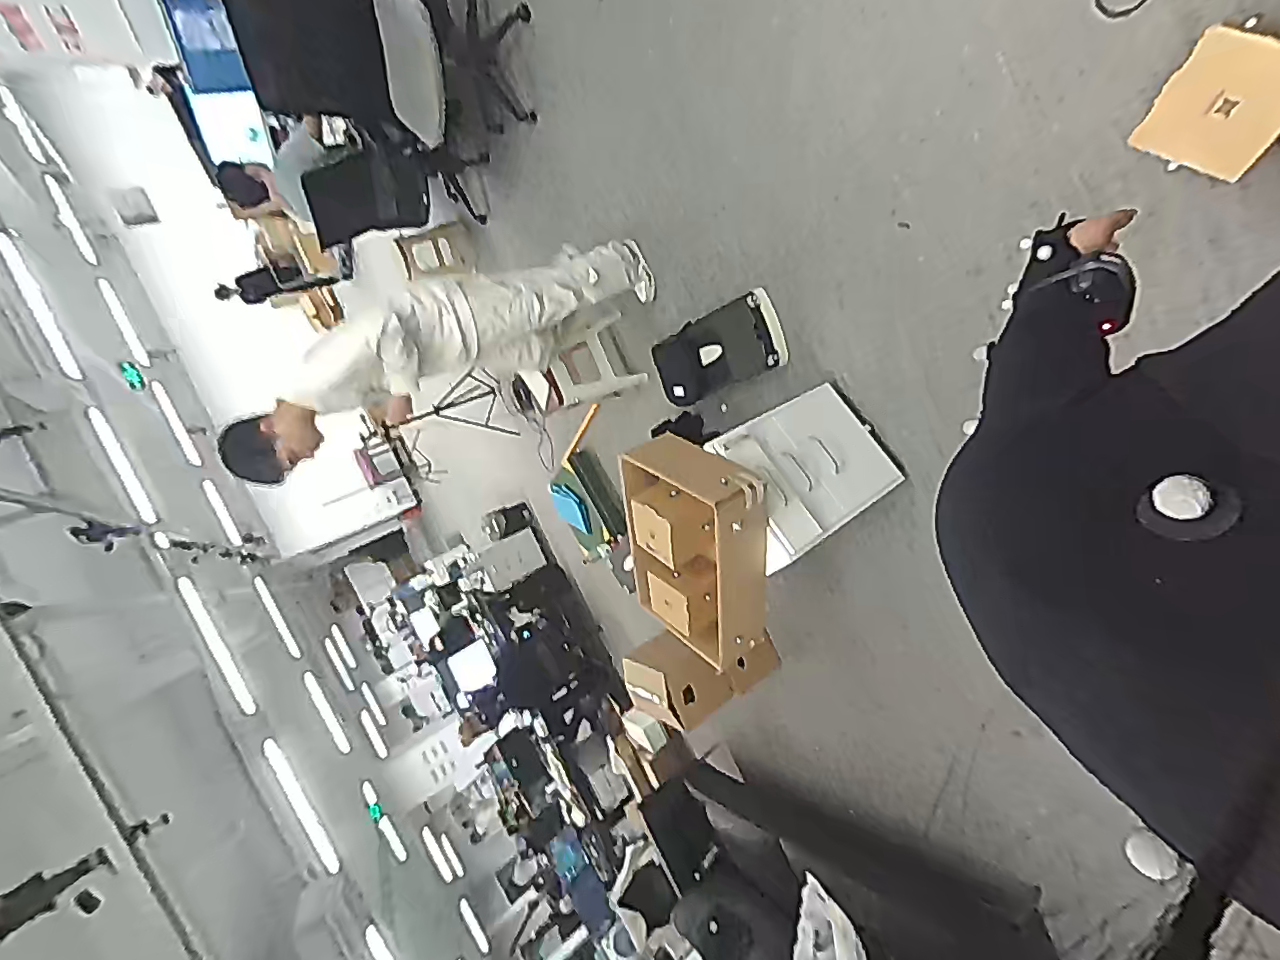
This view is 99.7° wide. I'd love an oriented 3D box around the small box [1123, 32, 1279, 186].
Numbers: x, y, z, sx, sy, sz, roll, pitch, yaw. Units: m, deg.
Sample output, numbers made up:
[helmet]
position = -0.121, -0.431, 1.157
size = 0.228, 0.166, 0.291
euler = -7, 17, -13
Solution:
[small box]
position = 0.972, -0.613, 0.887
size = 0.179, 0.176, 0.168
euler = 47, 147, 27
